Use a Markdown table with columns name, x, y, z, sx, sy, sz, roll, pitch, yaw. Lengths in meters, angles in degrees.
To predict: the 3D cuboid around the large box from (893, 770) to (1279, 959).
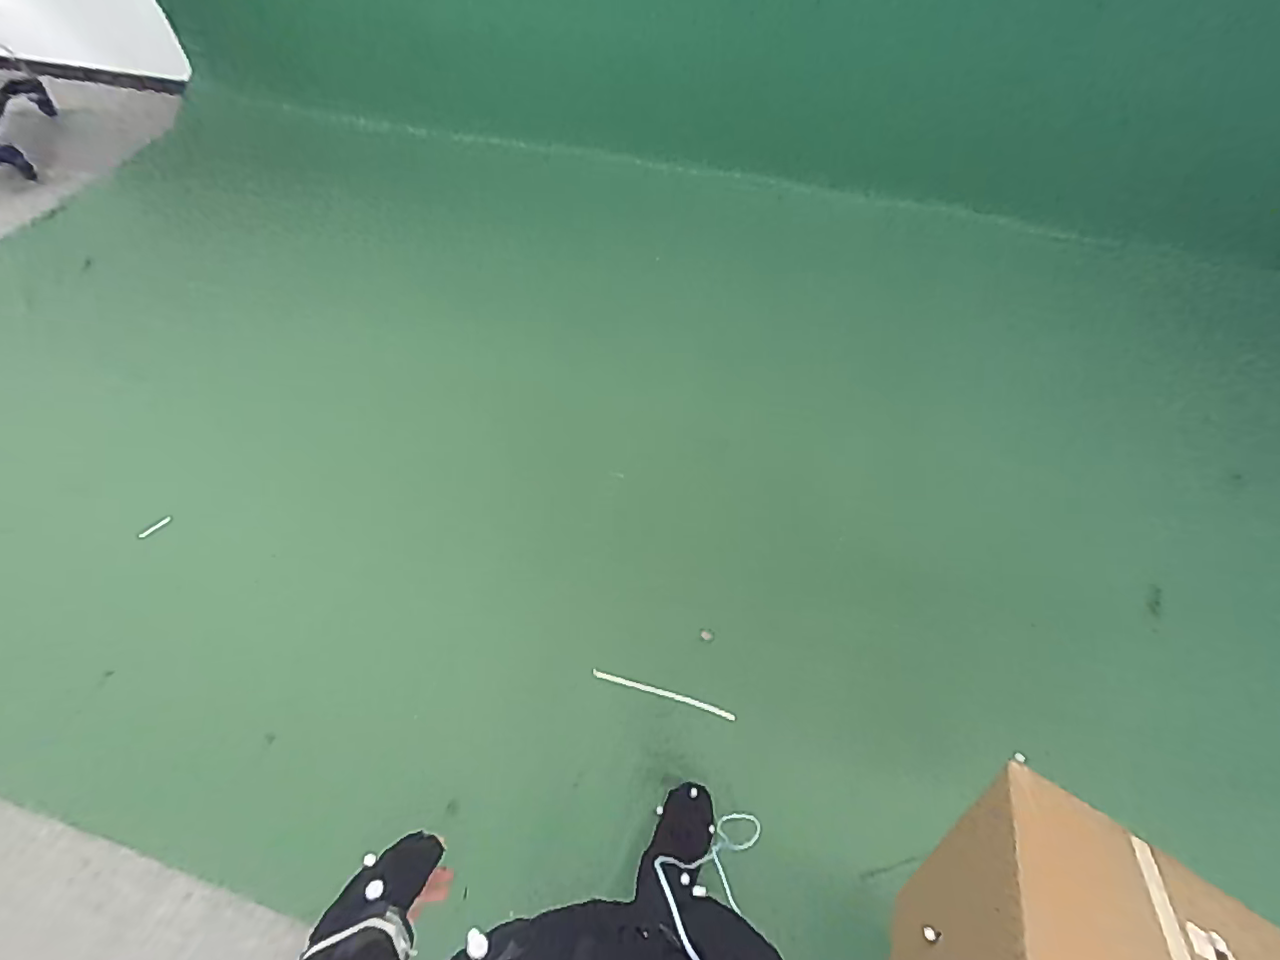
| name | x | y | z | sx | sy | sz | roll | pitch | yaw |
| --- | --- | --- | --- | --- | --- | --- | --- | --- | --- |
| large box | 0.494 | 0.645 | 0.602 | 0.320 | 0.320 | 0.408 | 32 | 23 | 24 |
